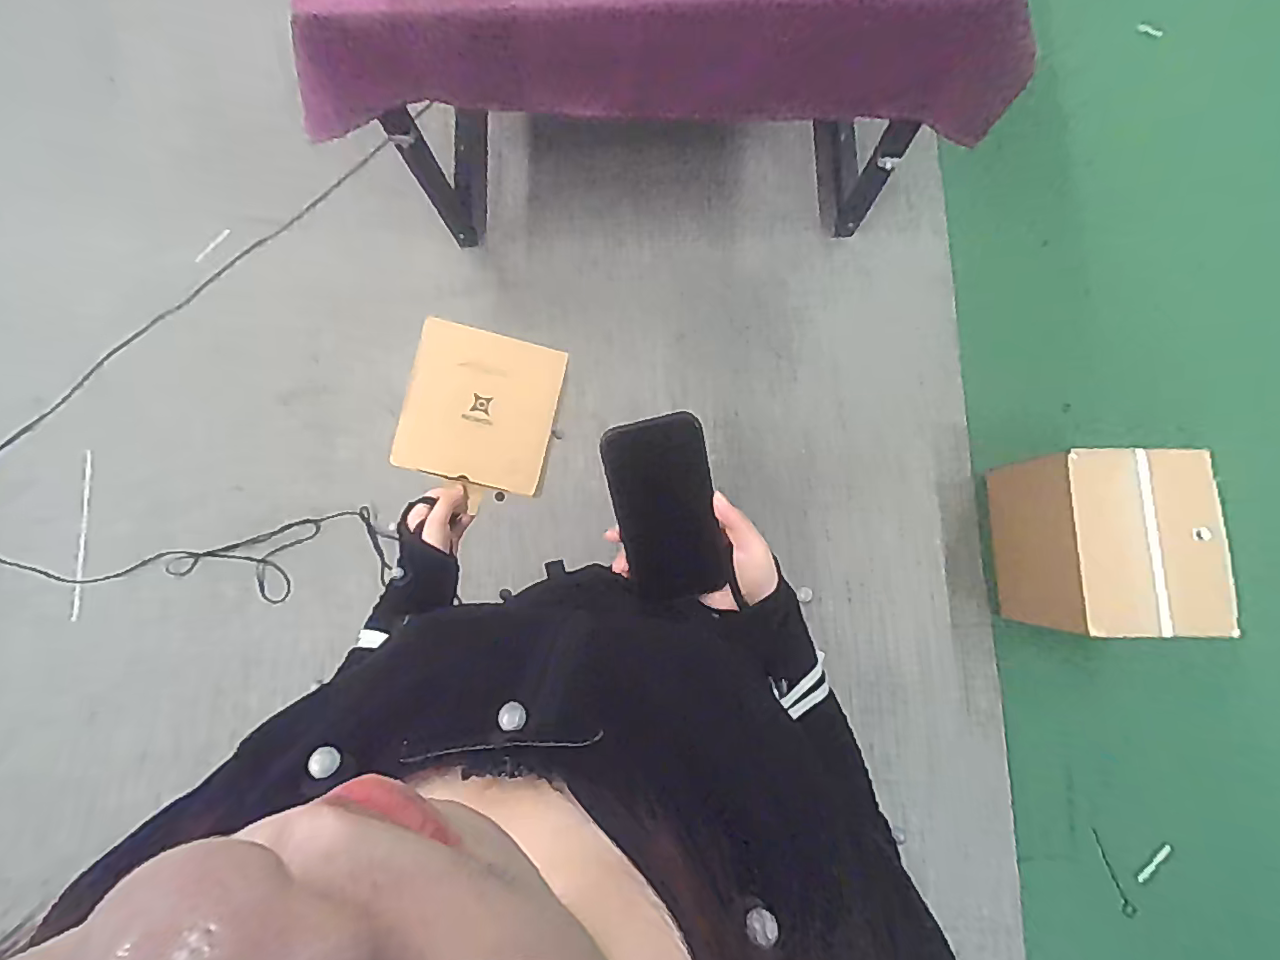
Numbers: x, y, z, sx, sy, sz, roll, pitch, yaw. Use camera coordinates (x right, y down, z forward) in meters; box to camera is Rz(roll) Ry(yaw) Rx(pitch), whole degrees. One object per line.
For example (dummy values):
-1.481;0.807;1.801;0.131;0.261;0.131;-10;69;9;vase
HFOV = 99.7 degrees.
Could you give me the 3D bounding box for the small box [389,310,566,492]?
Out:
-0.193;-0.087;0.692;0.168;0.176;0.179;14;87;-8;small box
